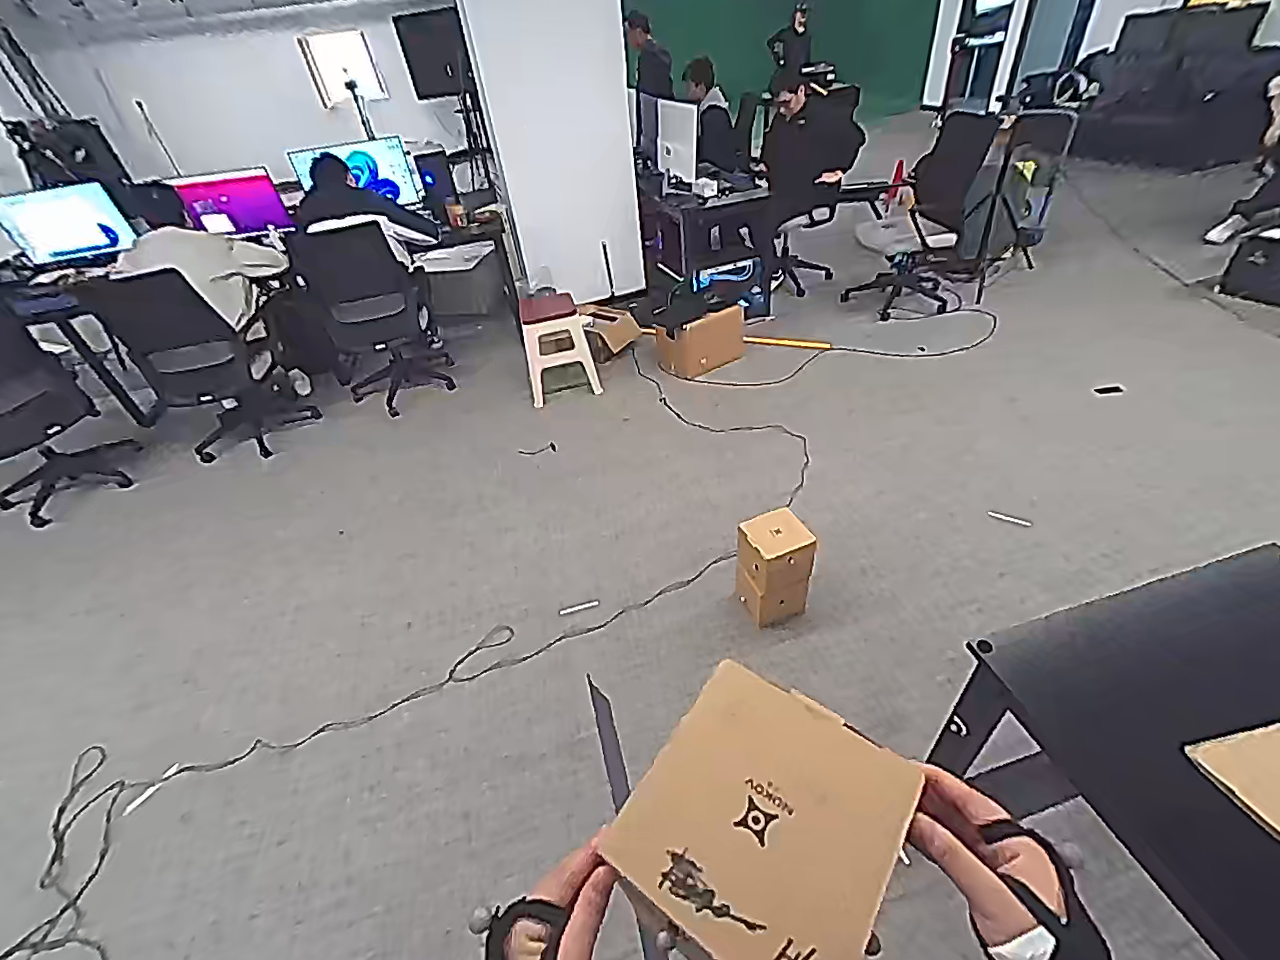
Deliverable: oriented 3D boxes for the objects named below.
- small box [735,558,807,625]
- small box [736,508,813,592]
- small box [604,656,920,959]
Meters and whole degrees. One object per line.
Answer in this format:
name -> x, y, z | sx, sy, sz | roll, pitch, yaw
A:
small box -> 0.425, 0.348, 1.788 | 0.179, 0.176, 0.168 | -18, 40, -10
small box -> 0.414, 0.221, 1.686 | 0.179, 0.176, 0.168 | -18, 41, -13
small box -> 0.096, 0.287, 0.433 | 0.168, 0.176, 0.179 | 22, 49, 32
